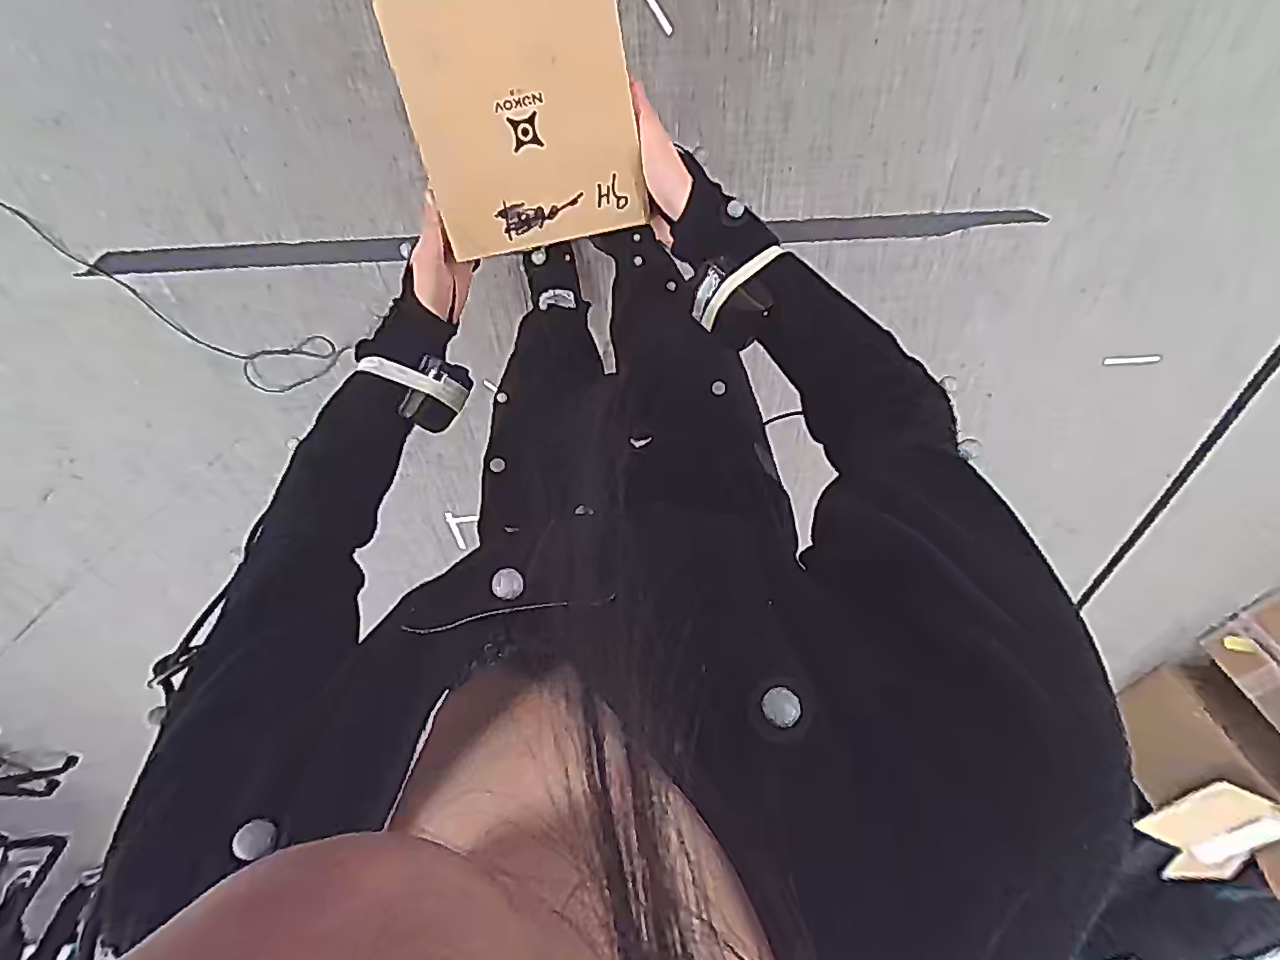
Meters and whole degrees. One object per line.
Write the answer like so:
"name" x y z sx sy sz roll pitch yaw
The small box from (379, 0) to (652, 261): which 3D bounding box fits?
"small box" -0.089 -0.302 0.471 0.168 0.176 0.179 -11 117 2
